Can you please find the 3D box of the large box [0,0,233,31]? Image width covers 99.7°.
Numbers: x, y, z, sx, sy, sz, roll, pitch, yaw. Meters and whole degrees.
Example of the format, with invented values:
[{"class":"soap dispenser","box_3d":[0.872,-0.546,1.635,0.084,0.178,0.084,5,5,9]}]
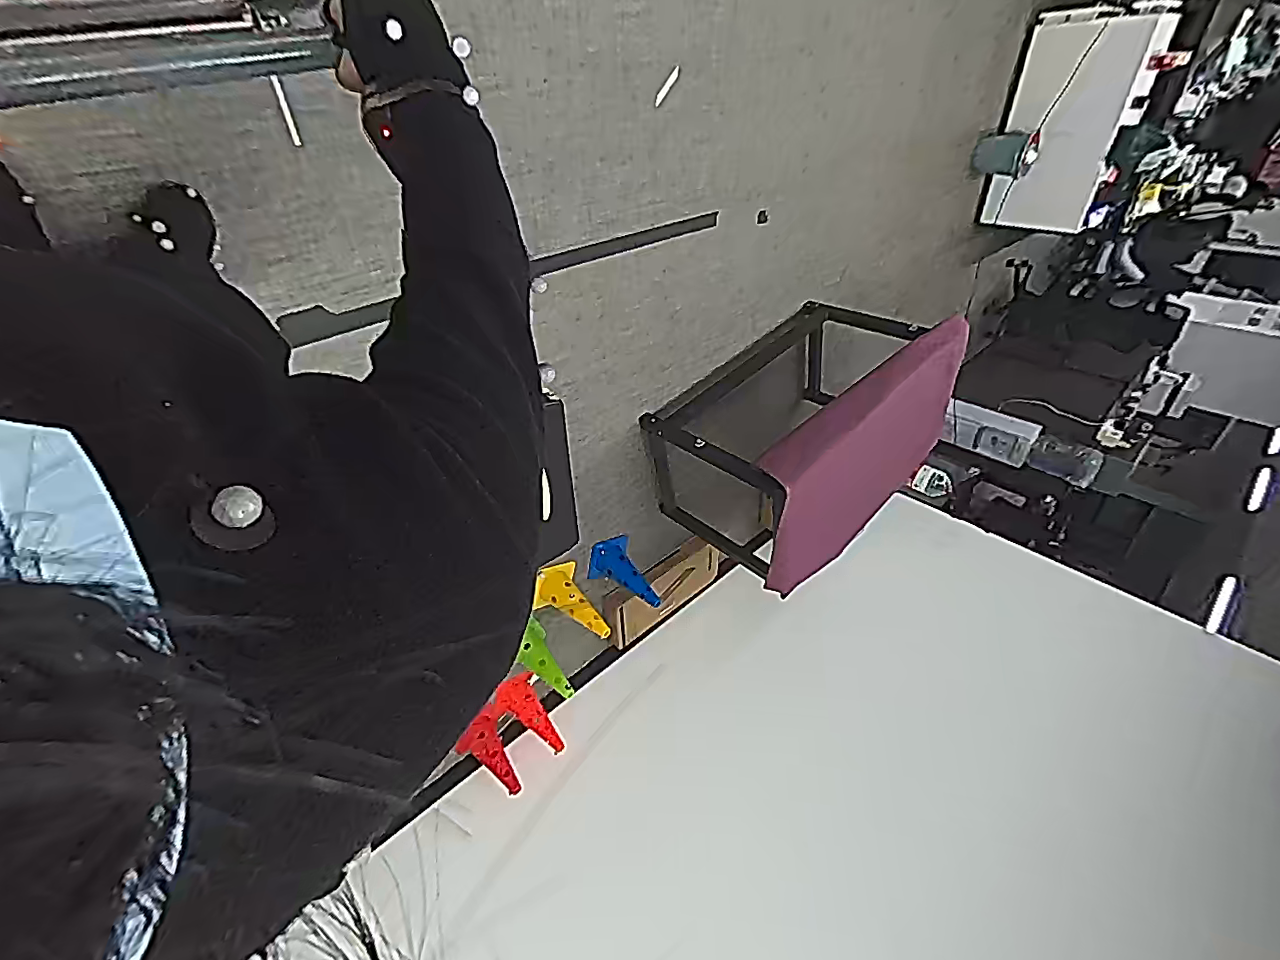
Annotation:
[{"class":"large box","box_3d":[-0.726,-0.712,0.588,0.408,0.320,0.320,-34,137,-28]}]
